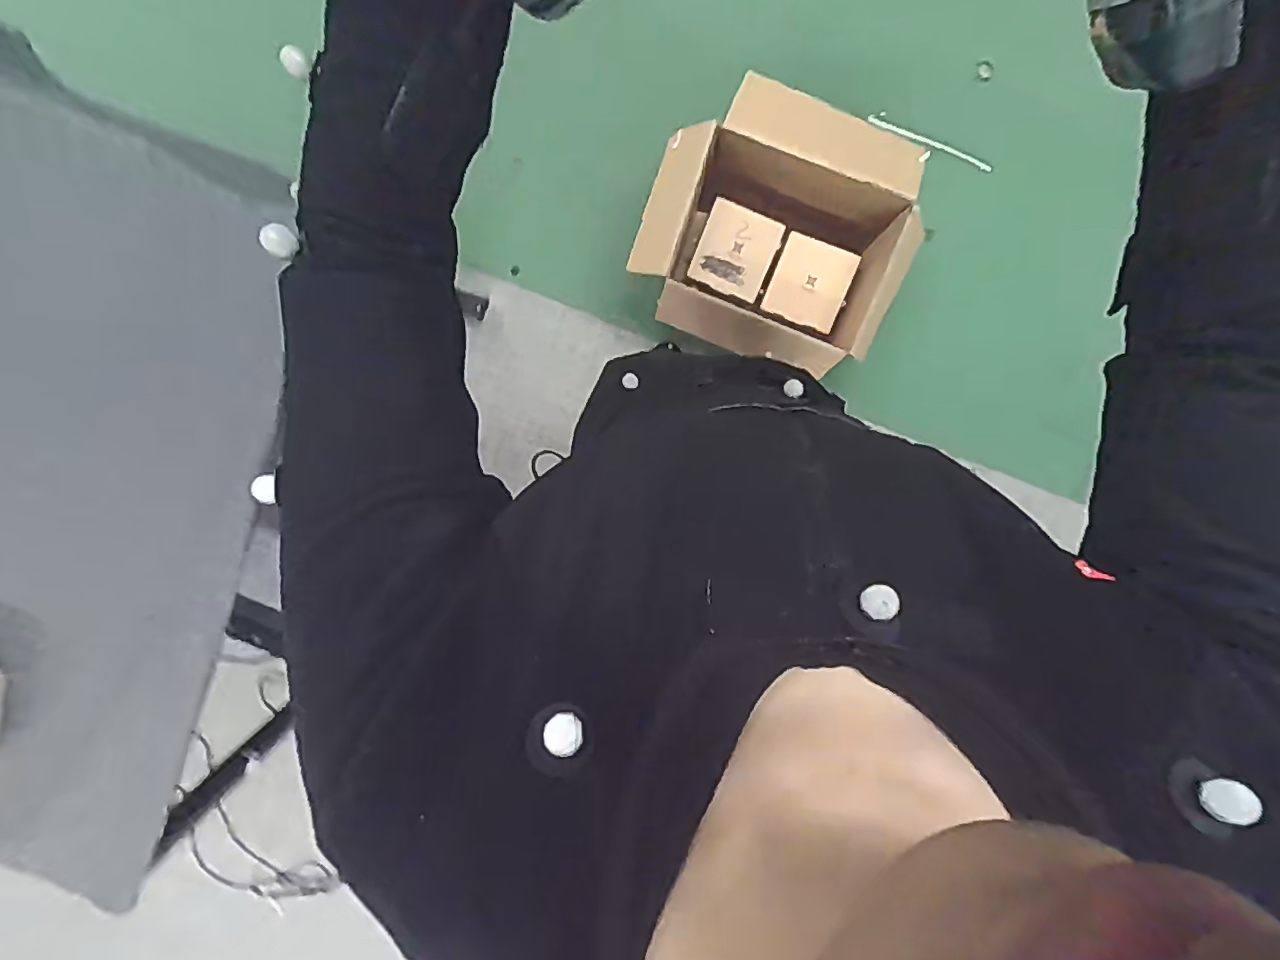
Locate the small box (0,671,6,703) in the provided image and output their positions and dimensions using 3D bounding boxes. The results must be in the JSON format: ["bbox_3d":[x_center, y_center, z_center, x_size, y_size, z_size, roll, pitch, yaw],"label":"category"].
[{"bbox_3d":[-1.103,0.352,0.777,0.179,0.176,0.168,23,102,-3],"label":"small box"}]
